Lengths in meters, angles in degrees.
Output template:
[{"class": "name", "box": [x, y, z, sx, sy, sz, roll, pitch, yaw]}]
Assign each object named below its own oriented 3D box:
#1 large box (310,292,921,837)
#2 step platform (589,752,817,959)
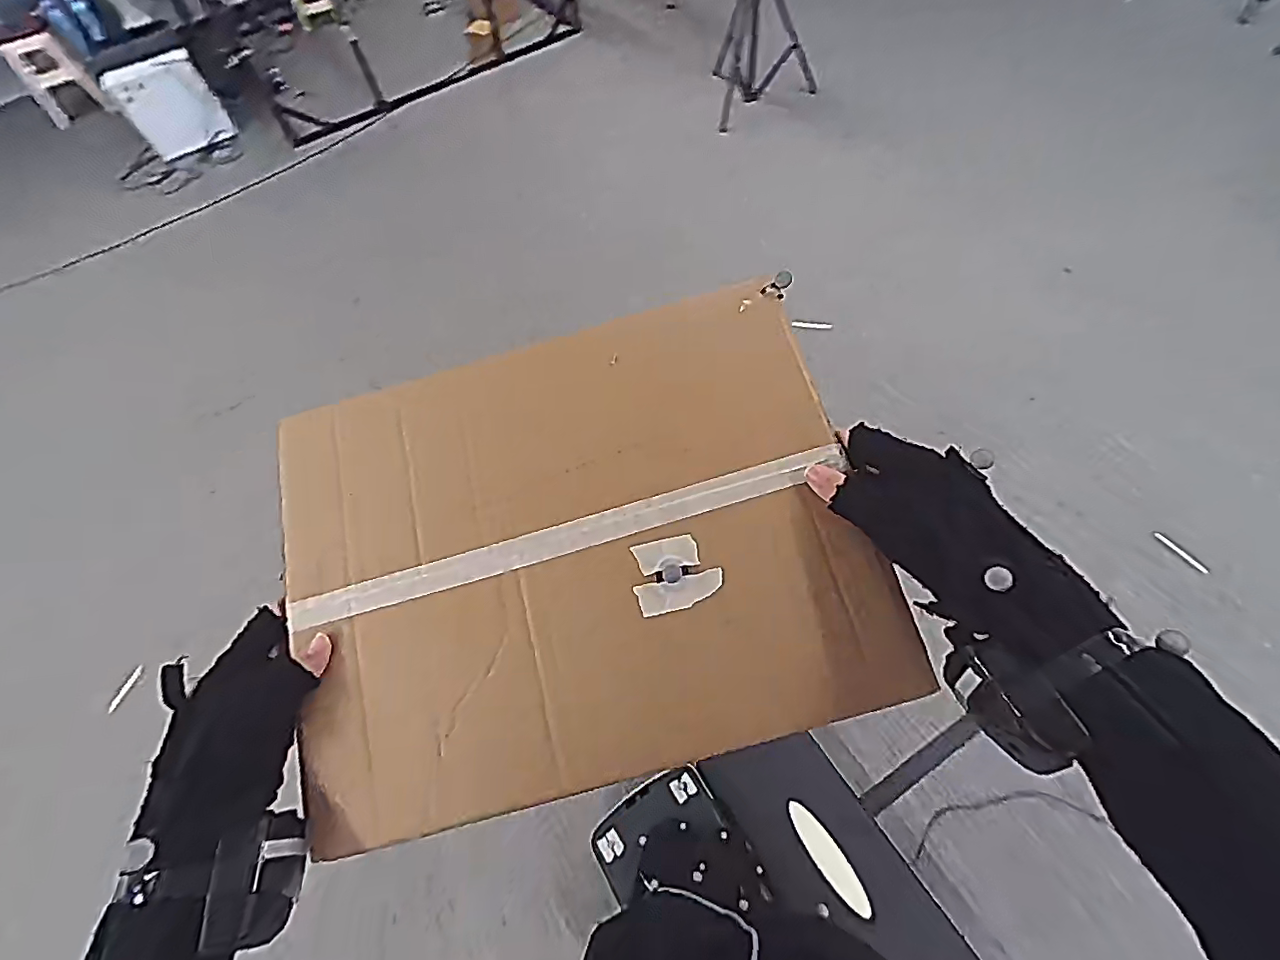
[{"class": "large box", "box": [-0.031, 0.084, 0.537, 0.408, 0.320, 0.320, -16, 73, 1]}, {"class": "step platform", "box": [0.169, 0.962, 1.157, 0.286, 0.204, 0.684, -32, 60, -12]}]
